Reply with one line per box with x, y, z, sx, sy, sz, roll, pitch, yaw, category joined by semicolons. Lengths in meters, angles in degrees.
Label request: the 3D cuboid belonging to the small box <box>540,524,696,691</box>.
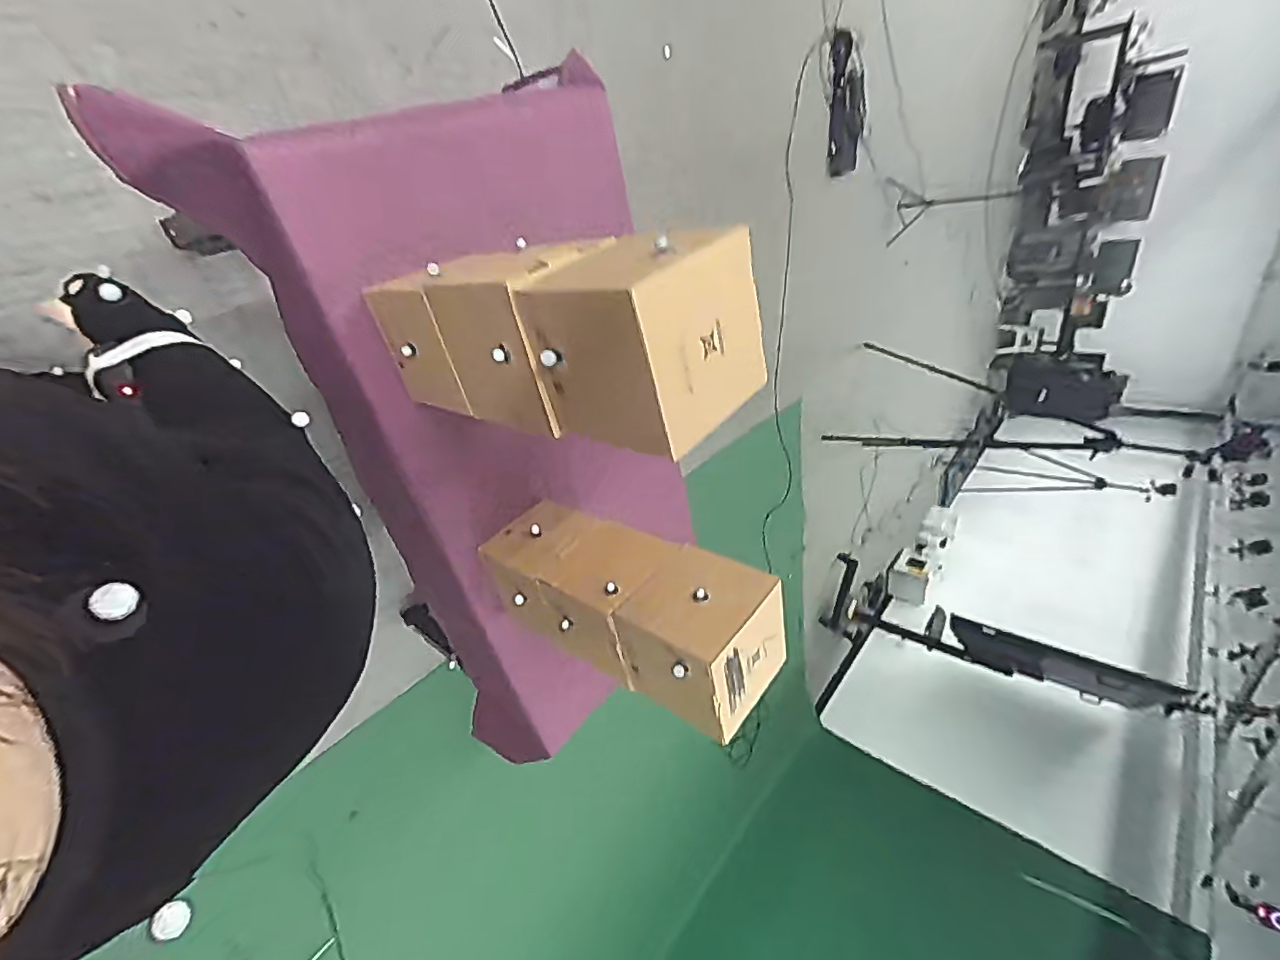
-0.033;0.196;0.885;0.179;0.176;0.168;-37;128;-35;small box

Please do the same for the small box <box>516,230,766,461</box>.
0.007;-0.145;0.558;0.179;0.176;0.168;-40;129;-33;small box

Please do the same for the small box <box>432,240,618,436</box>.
-0.119;-0.176;0.657;0.168;0.176;0.179;-38;130;-34;small box

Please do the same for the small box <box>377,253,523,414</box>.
-0.240;-0.211;0.763;0.179;0.176;0.168;-38;129;-35;small box

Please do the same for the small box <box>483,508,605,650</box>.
-0.157;0.168;0.987;0.168;0.176;0.179;-39;128;-34;small box
